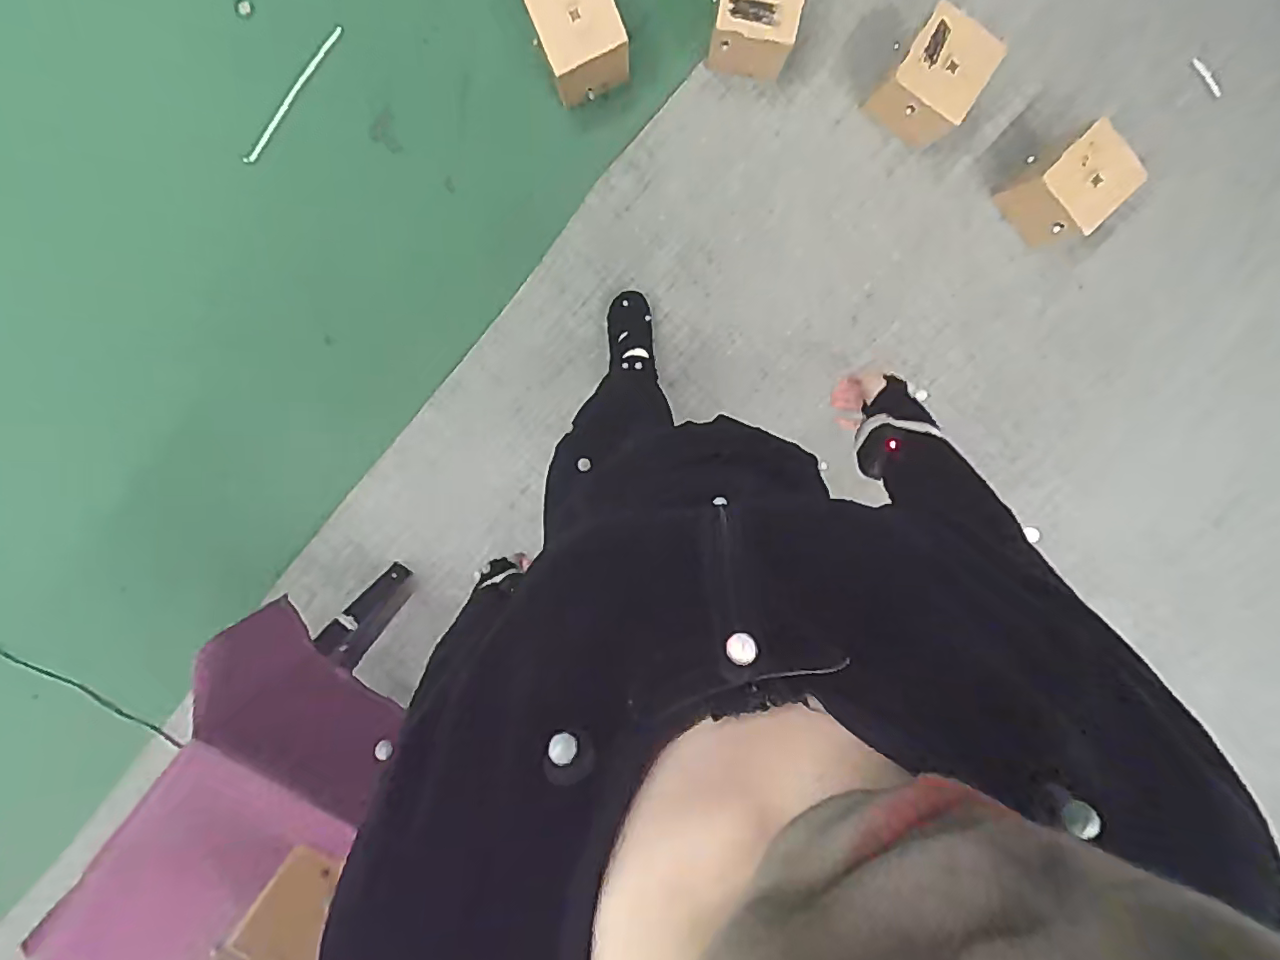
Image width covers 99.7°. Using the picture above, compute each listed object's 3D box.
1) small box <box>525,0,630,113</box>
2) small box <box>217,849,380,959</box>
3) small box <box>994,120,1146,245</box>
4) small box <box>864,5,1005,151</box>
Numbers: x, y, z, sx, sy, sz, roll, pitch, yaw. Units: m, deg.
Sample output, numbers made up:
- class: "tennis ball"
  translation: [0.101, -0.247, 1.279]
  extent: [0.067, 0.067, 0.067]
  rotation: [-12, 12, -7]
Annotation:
- class: "small box"
  translation: [-0.130, -0.947, 1.167]
  extent: [0.168, 0.176, 0.179]
  rotation: [-23, 103, 5]
- class: "small box"
  translation: [-0.539, 0.728, 0.831]
  extent: [0.168, 0.176, 0.179]
  rotation: [36, 100, -9]
- class: "small box"
  translation: [0.973, -0.664, 1.238]
  extent: [0.179, 0.176, 0.168]
  rotation: [42, 99, -10]
- class: "small box"
  translation: [0.632, -0.865, 1.187]
  extent: [0.179, 0.176, 0.168]
  rotation: [30, 102, -8]
